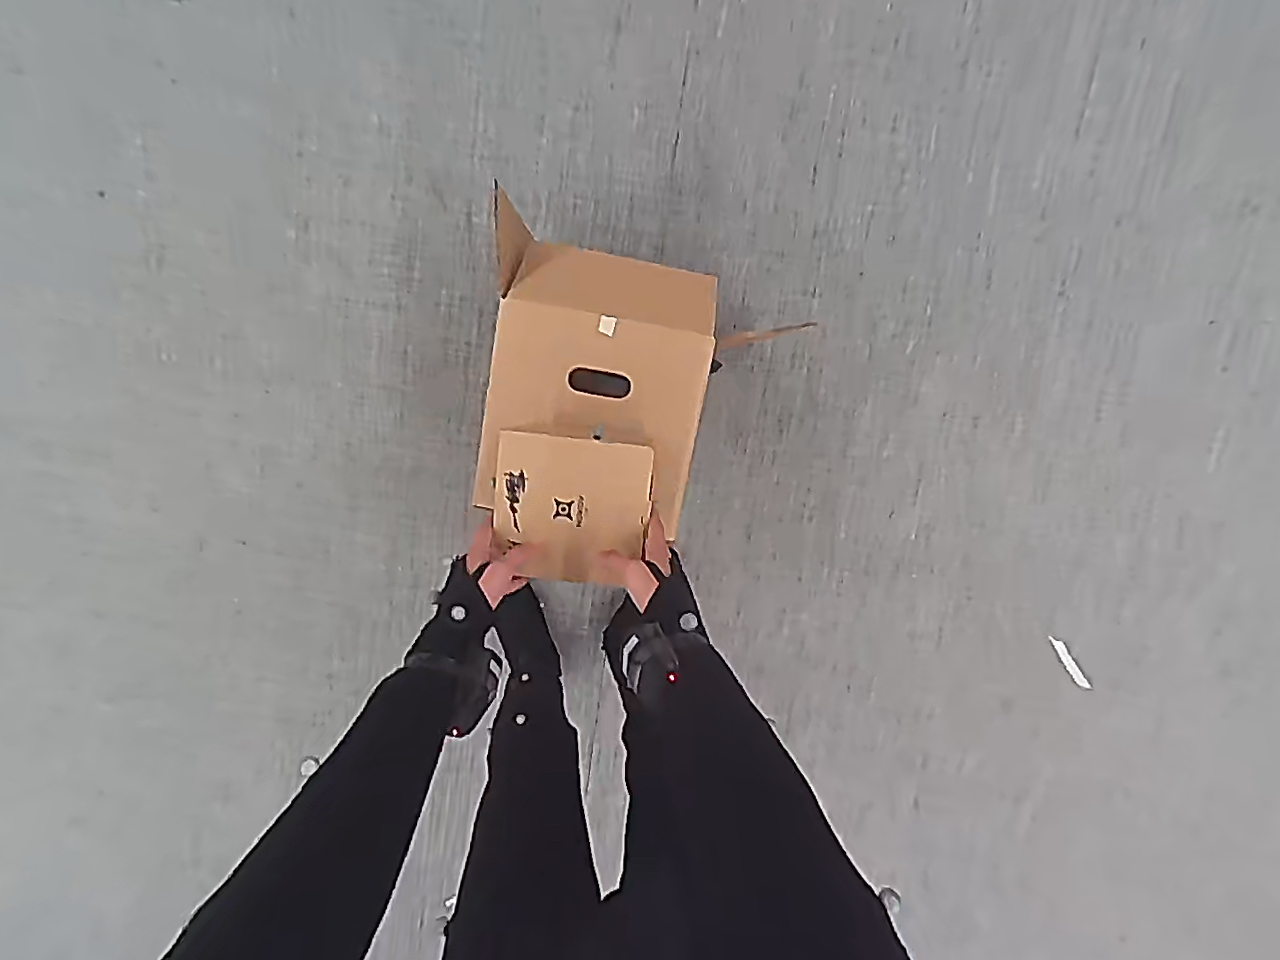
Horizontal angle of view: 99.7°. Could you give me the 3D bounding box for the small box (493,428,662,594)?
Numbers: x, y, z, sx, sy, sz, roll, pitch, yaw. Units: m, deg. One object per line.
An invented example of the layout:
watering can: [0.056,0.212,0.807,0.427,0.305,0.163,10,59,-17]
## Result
small box: [-0.070,0.028,0.676,0.179,0.176,0.168,7,99,0]
